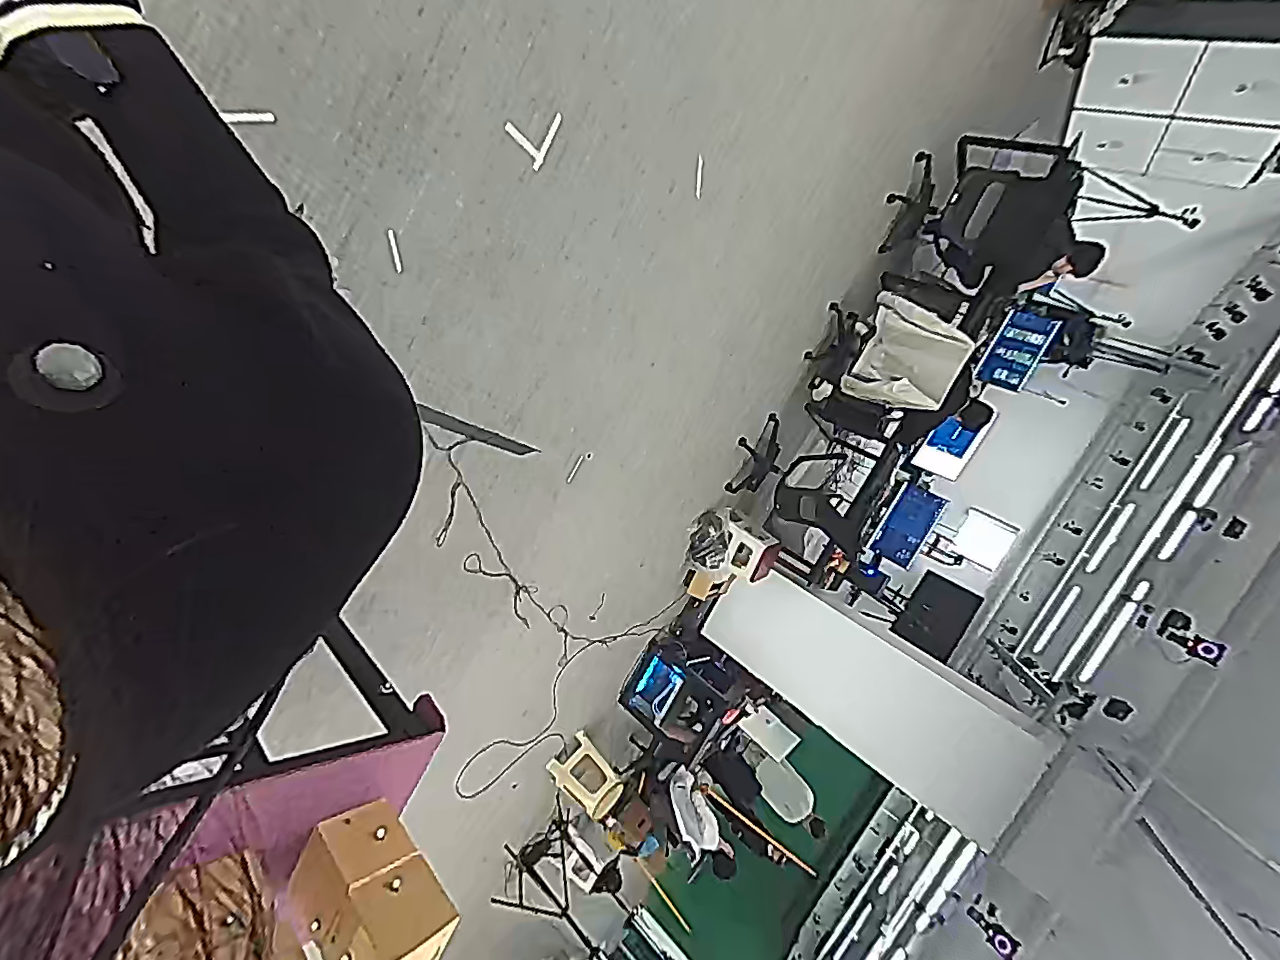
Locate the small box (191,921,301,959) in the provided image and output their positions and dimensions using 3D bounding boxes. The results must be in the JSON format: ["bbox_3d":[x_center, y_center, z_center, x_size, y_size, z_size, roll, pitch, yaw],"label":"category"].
[{"bbox_3d":[-0.665,0.877,0.872,0.179,0.176,0.168,22,98,-58],"label":"small box"}]

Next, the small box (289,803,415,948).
[{"bbox_3d":[-0.646,0.862,1.207,0.168,0.176,0.179,14,106,-58],"label":"small box"}]

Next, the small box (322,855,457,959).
[{"bbox_3d":[-0.527,0.944,1.130,0.179,0.176,0.168,11,109,-57],"label":"small box"}]

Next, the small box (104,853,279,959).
[{"bbox_3d":[-0.790,0.814,0.954,0.179,0.176,0.168,17,103,-58],"label":"small box"}]
